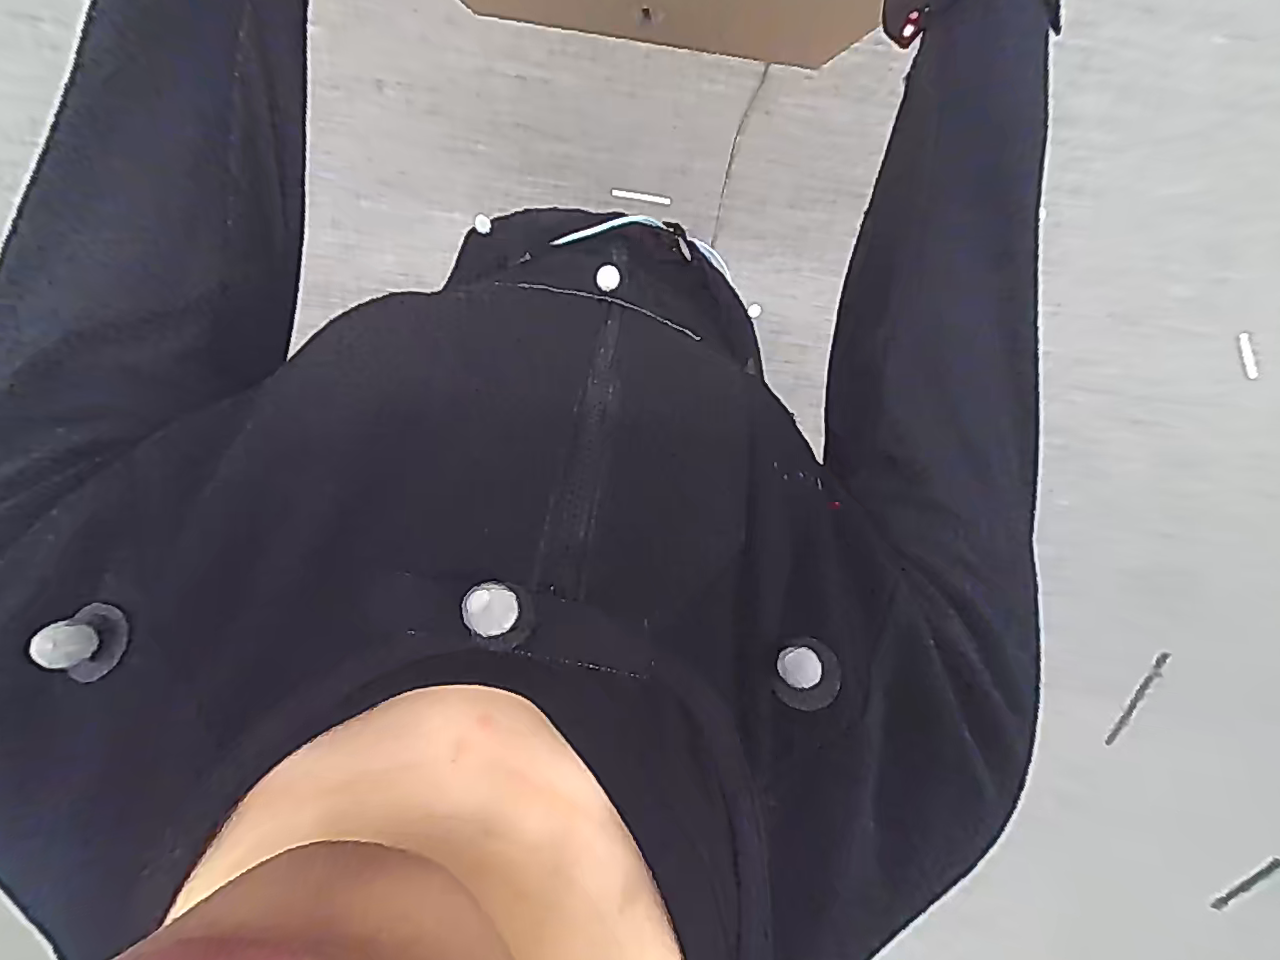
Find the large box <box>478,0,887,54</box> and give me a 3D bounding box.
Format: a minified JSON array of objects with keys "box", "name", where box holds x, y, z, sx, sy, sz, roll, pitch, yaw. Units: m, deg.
[{"box":[0.028,-0.574,0.422,0.408,0.320,0.320,8,118,-2],"name":"large box"}]
